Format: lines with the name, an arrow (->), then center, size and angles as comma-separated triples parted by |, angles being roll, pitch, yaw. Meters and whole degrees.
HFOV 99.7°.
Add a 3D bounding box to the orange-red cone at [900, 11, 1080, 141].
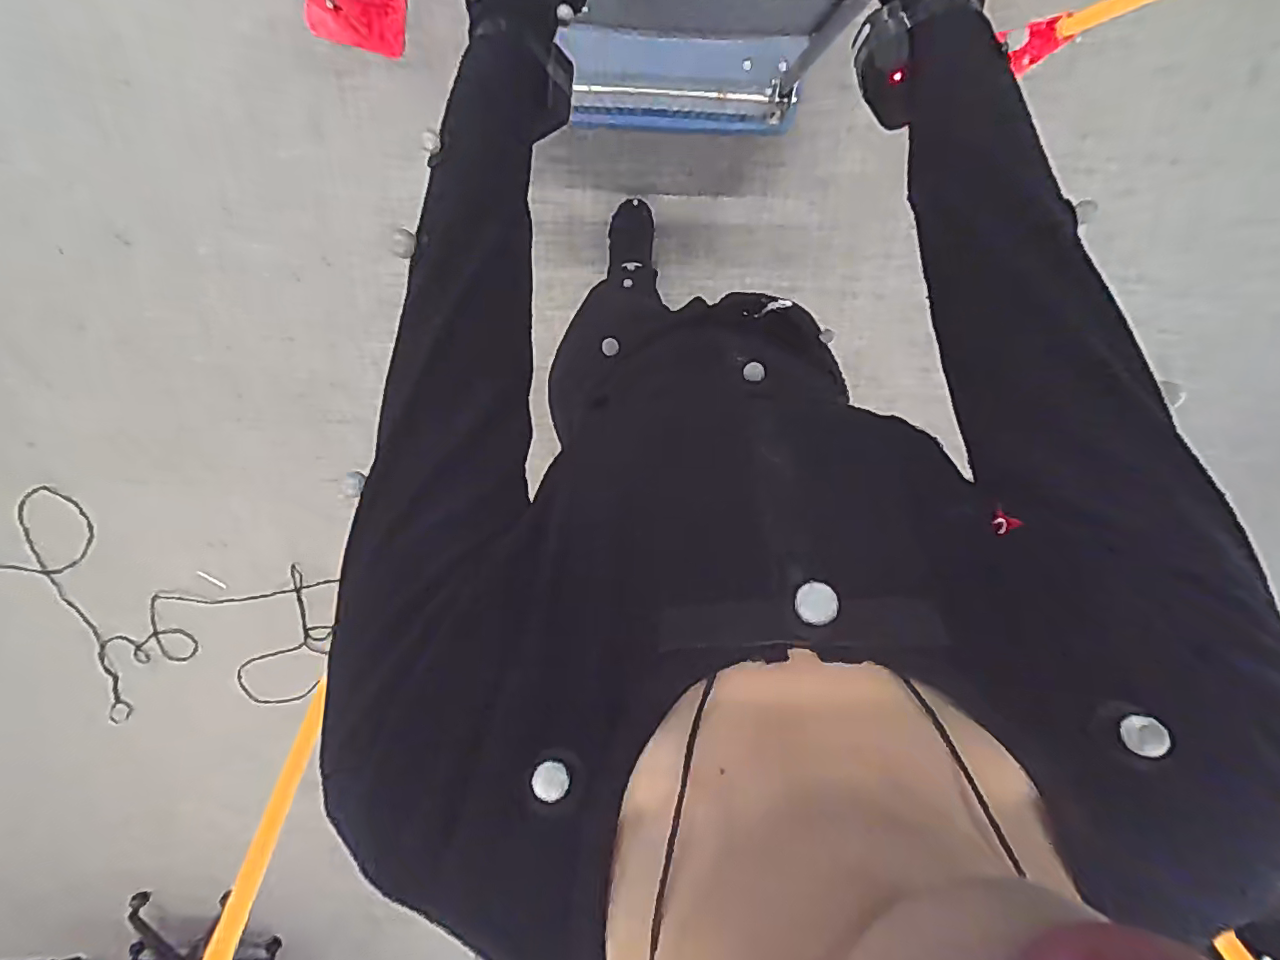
orange-red cone -> 0.699, -0.811, 1.042 | 0.198, 0.360, 0.199 | 11, 114, -5
